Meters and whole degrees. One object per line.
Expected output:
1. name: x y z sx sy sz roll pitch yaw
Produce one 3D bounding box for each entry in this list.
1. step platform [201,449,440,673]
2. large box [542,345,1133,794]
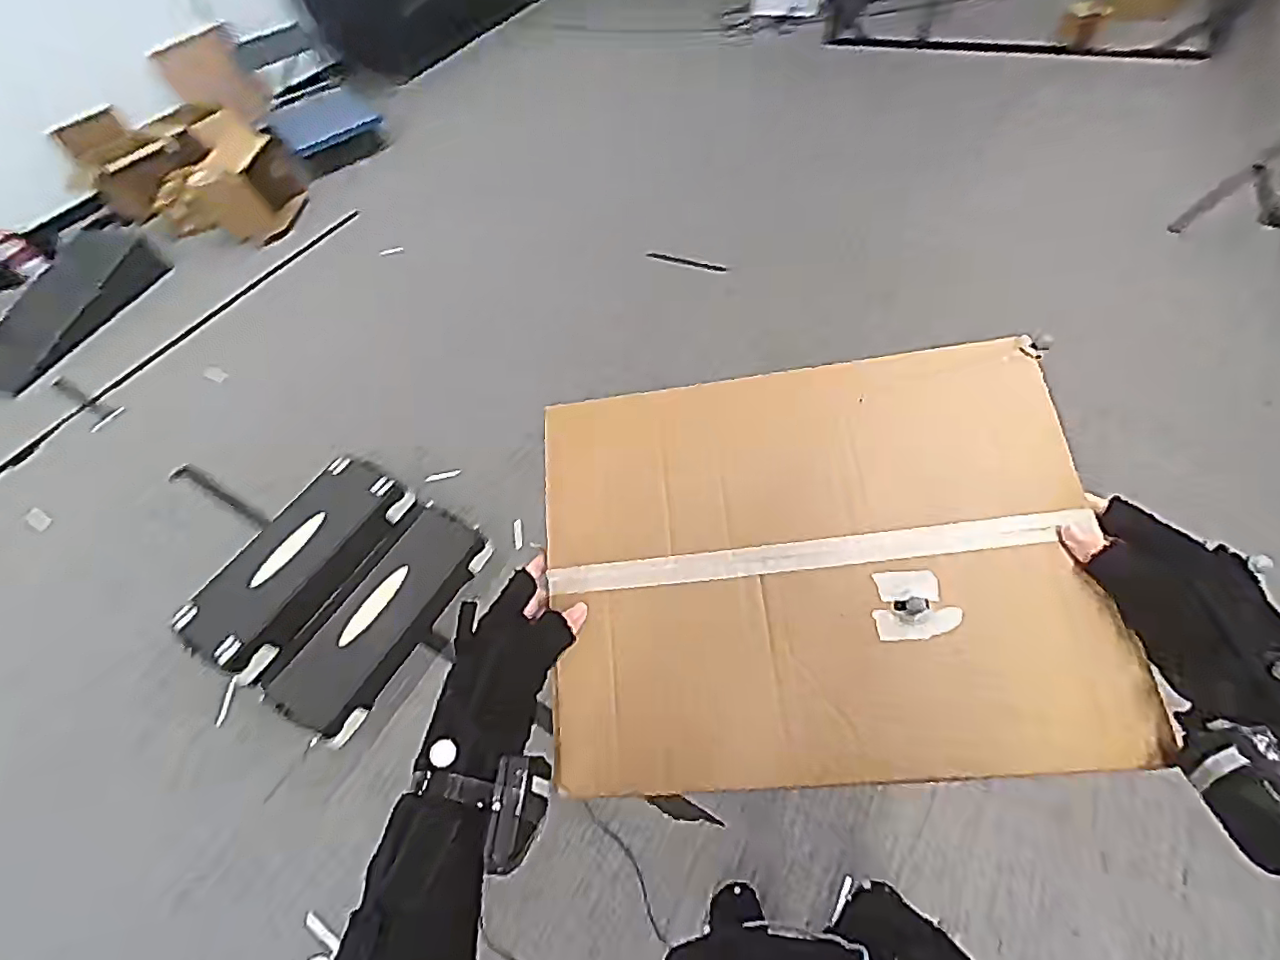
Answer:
1. step platform: -0.956 0.222 1.665 0.286 0.204 0.684 22 61 22
2. large box: 0.141 0.105 0.568 0.408 0.320 0.320 -8 72 7
